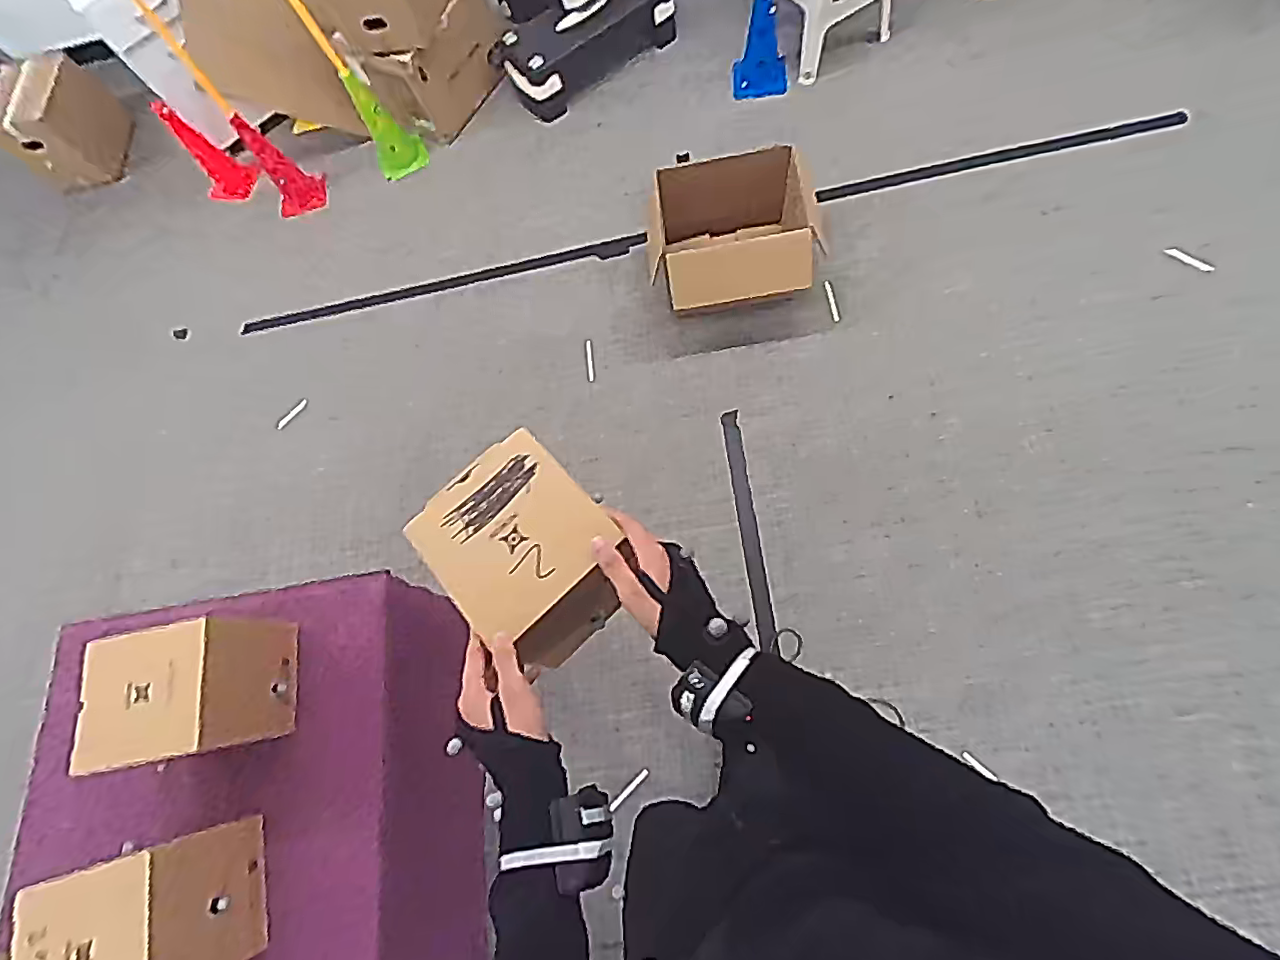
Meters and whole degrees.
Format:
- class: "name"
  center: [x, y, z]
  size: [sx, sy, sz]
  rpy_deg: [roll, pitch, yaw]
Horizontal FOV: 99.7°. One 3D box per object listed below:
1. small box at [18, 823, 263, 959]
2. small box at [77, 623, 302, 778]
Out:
- class: "small box"
  center: [-0.614, 0.566, 0.685]
  size: [0.179, 0.176, 0.168]
  rpy_deg: [-19, 69, 3]
- class: "small box"
  center: [-0.627, 0.308, 0.774]
  size: [0.179, 0.176, 0.168]
  rpy_deg: [-14, 71, 5]
